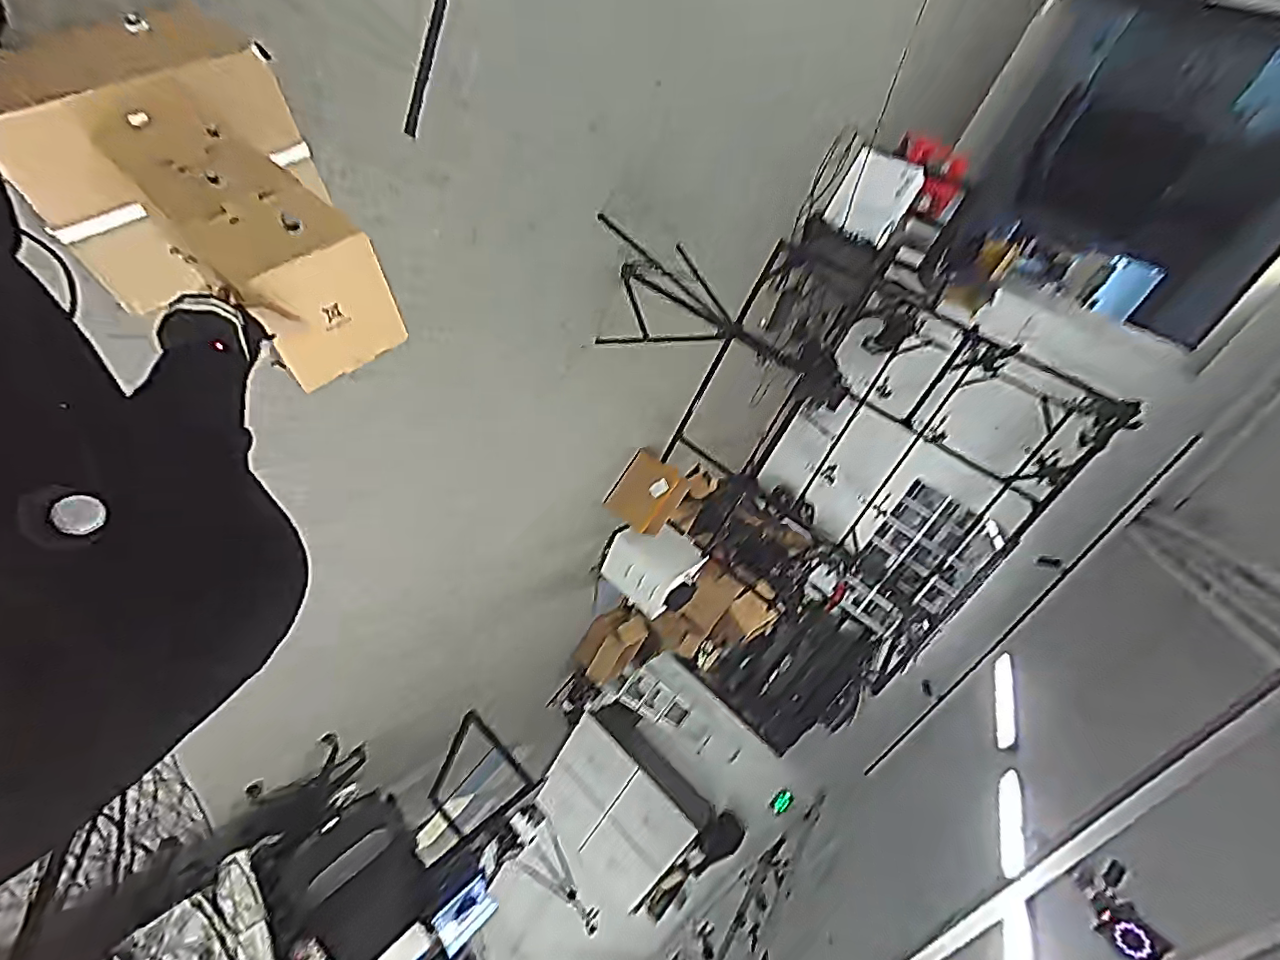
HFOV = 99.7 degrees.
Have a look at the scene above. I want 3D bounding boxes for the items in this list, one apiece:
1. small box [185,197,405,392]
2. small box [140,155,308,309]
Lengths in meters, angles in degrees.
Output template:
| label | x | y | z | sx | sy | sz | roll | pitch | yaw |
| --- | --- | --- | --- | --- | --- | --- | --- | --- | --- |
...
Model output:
| label | x | y | z | sx | sy | sz | roll | pitch | yaw |
| --- | --- | --- | --- | --- | --- | --- | --- | --- | --- |
| small box | -0.467 | -0.263 | 0.747 | 0.168 | 0.176 | 0.179 | -40 | 156 | -25 |
| small box | -0.583 | -0.358 | 0.811 | 0.168 | 0.176 | 0.179 | -40 | 154 | -24 |
